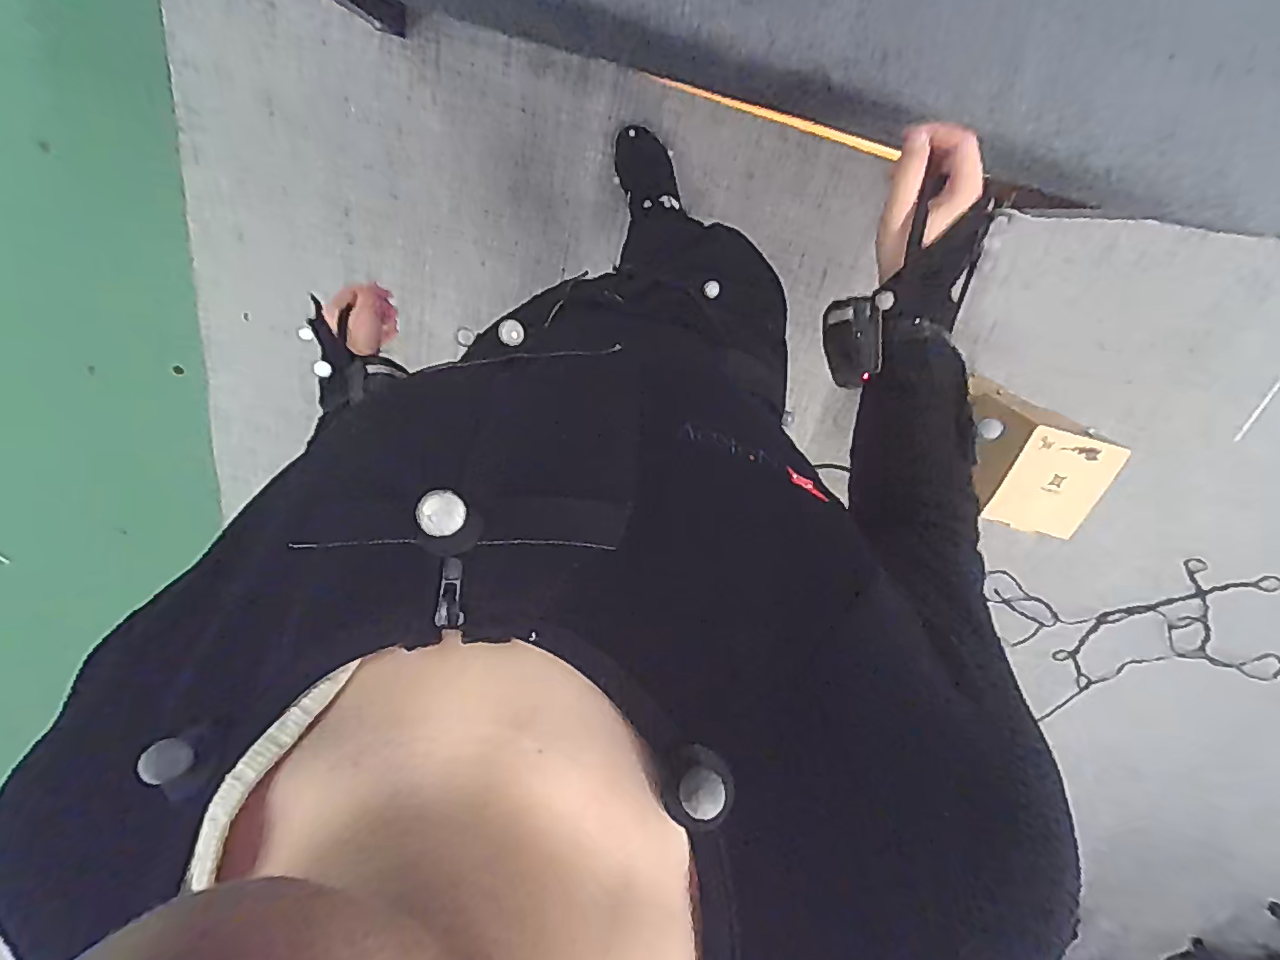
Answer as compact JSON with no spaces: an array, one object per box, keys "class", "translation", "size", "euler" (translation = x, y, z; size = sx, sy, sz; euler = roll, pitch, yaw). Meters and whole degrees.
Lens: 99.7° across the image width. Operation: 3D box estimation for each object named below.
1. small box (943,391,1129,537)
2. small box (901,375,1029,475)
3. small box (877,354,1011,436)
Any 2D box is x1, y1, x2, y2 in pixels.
[{"class":"small box","translation":[0.667,-0.033,0.943],"size":[0.168,0.176,0.179],"euler":[14,117,-5]},{"class":"small box","translation":[0.666,-0.103,1.092],"size":[0.179,0.176,0.168],"euler":[12,116,-5]},{"class":"small box","translation":[0.684,-0.176,1.238],"size":[0.179,0.176,0.168],"euler":[15,115,-5]}]
